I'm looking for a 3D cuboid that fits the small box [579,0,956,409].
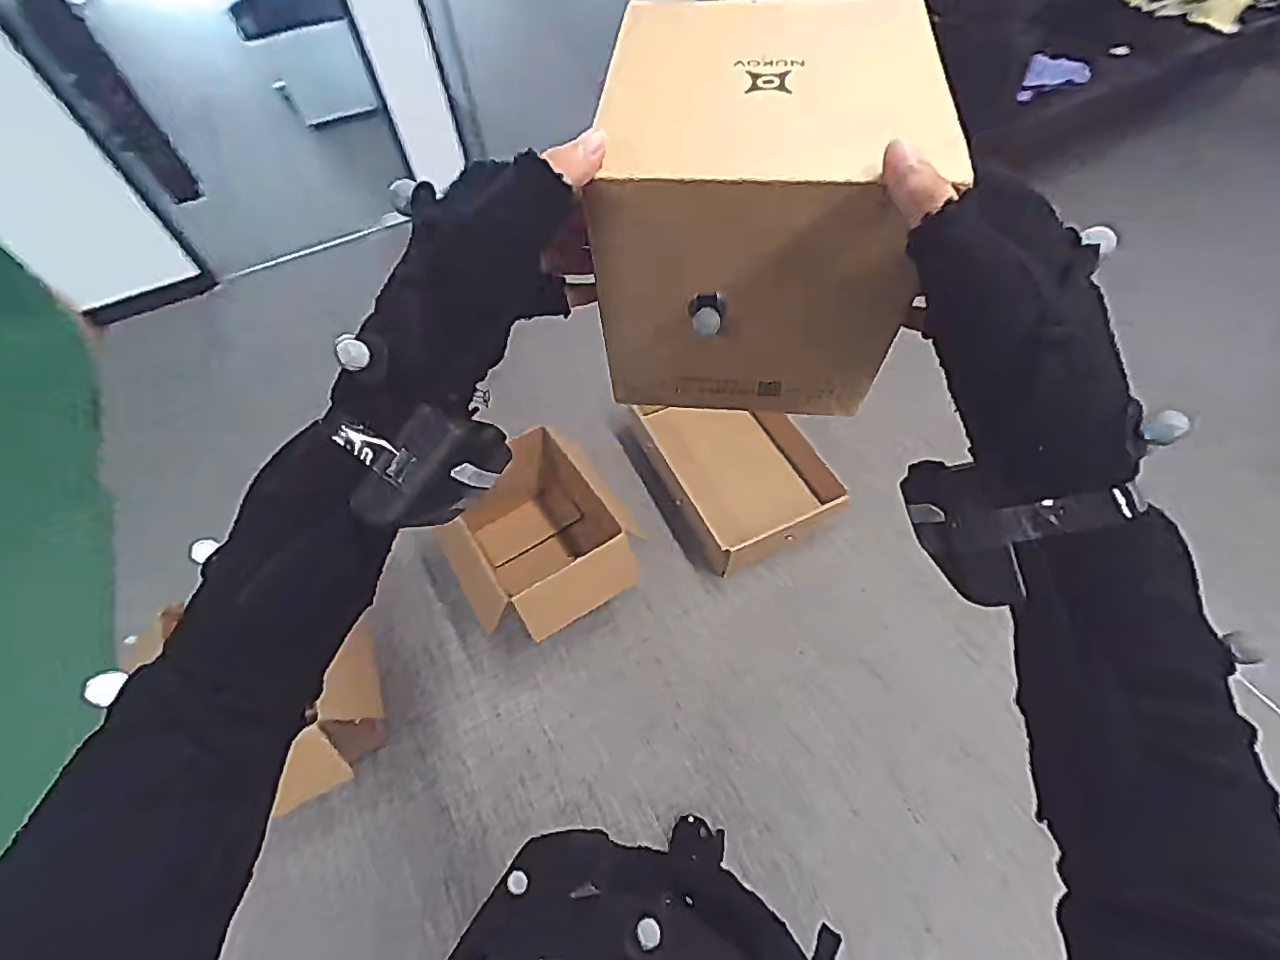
[{"bbox_3d":[0.067,-0.162,0.343,0.168,0.176,0.179,4,61,6],"label":"small box"}]
